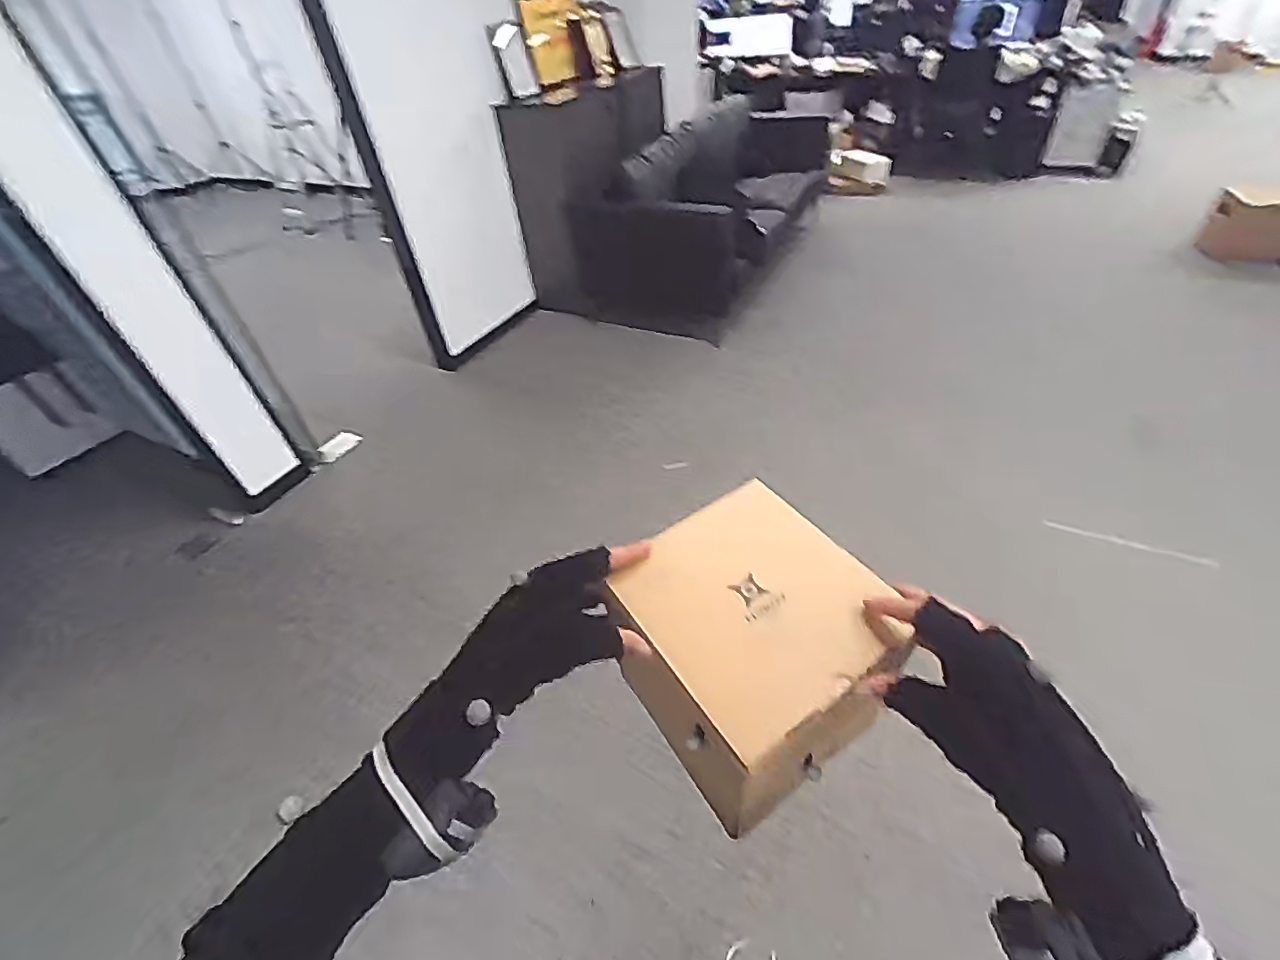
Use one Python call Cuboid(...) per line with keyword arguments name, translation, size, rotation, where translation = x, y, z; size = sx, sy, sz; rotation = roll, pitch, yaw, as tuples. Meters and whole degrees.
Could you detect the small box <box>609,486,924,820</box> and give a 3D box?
Cuboid(name="small box", translation=(0.092, 0.142, 0.459), size=(0.168, 0.176, 0.179), rotation=(-28, 49, -20))
